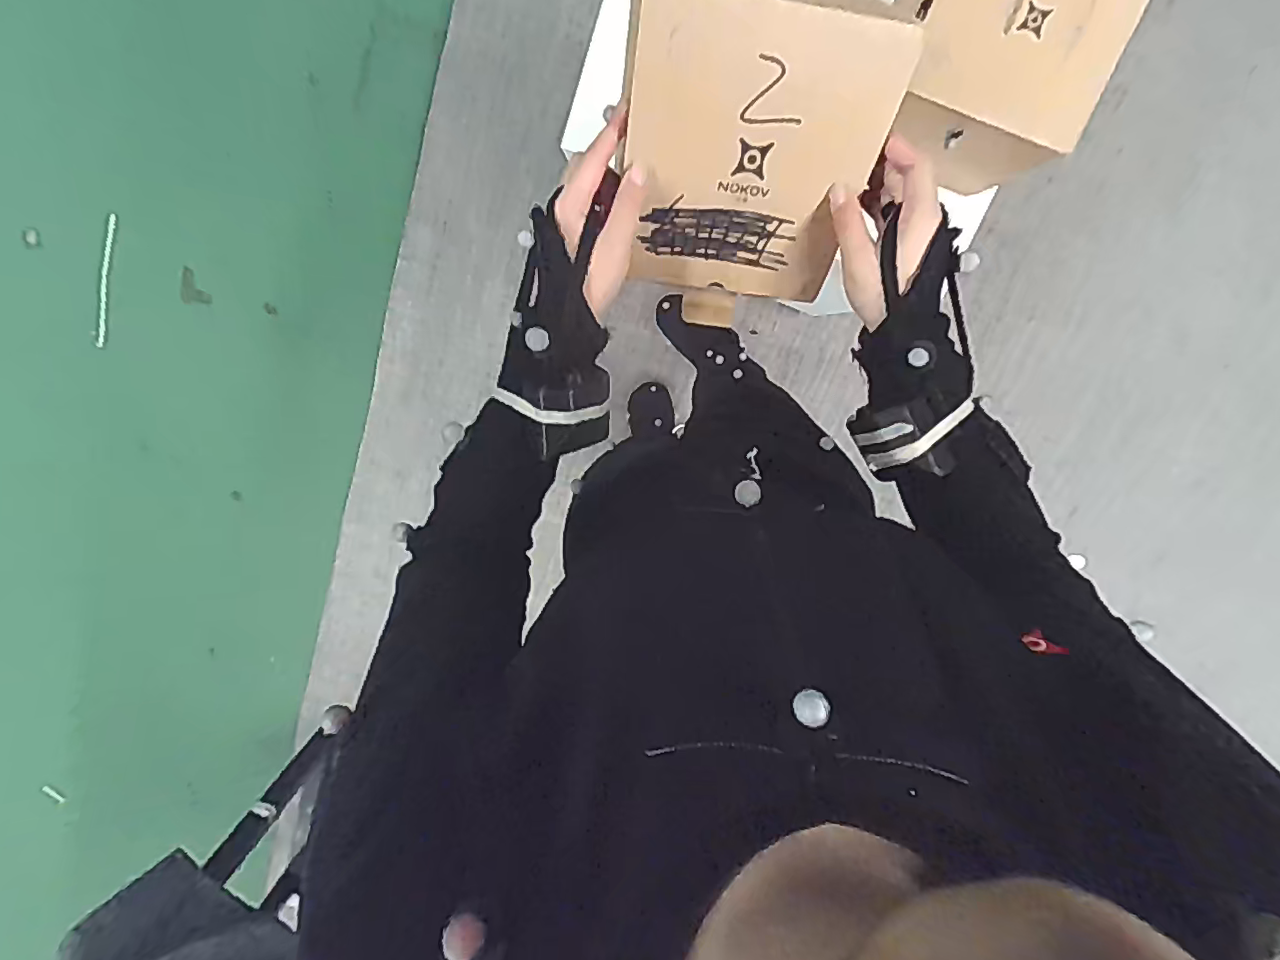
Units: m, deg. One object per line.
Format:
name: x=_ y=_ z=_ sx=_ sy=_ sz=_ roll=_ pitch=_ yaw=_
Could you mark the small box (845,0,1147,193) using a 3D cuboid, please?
small box: x=0.336 y=-0.414 z=0.542 sx=0.179 sy=0.176 sz=0.168 roll=19 pitch=106 yaw=-3
